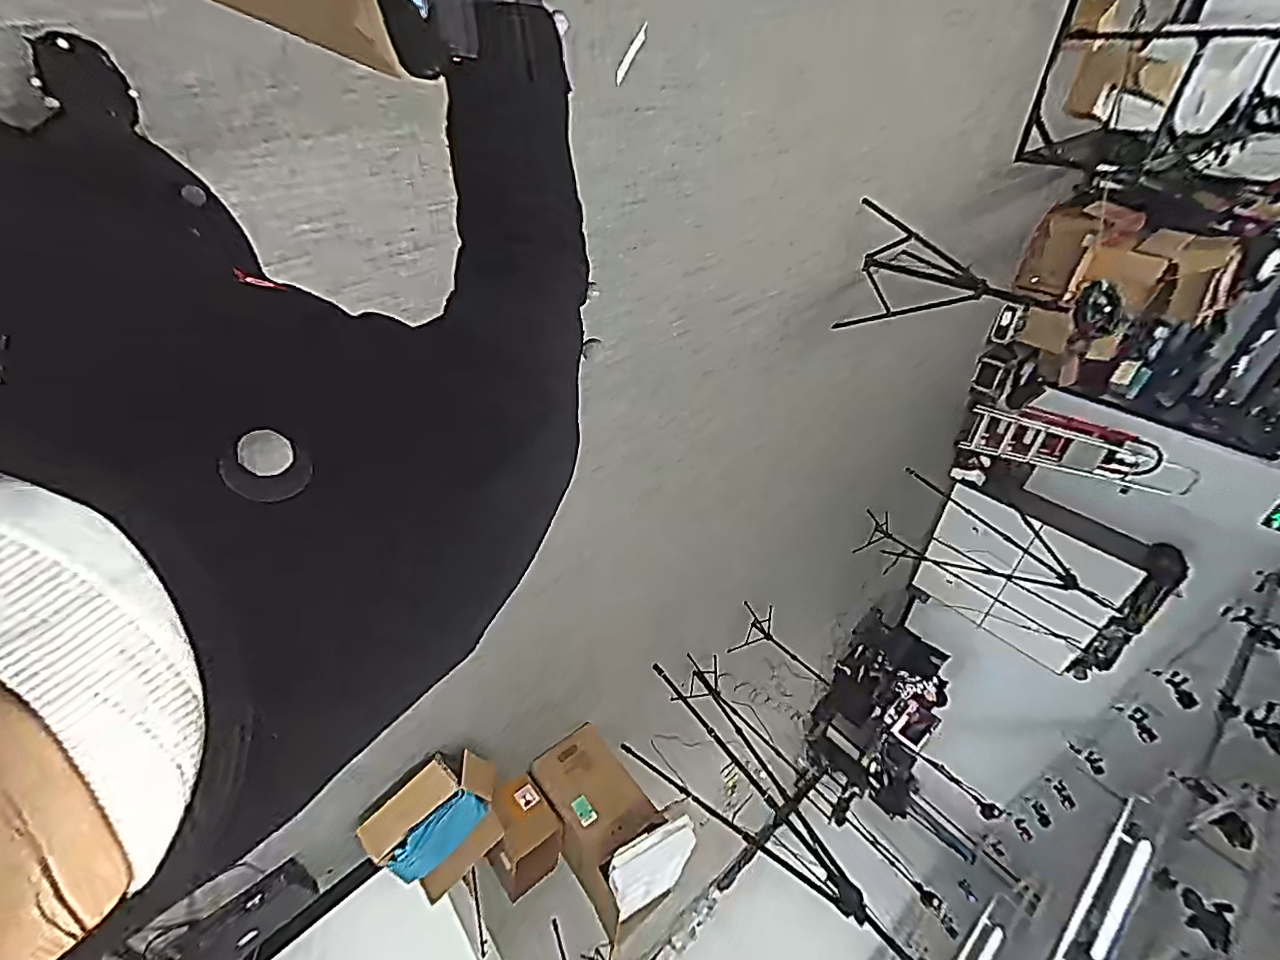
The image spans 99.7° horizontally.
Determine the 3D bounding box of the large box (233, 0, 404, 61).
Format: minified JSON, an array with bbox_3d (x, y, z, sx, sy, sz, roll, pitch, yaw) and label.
[{"bbox_3d":[-0.329,-0.489,0.263,0.408,0.320,0.320,9,116,-23],"label":"large box"}]
